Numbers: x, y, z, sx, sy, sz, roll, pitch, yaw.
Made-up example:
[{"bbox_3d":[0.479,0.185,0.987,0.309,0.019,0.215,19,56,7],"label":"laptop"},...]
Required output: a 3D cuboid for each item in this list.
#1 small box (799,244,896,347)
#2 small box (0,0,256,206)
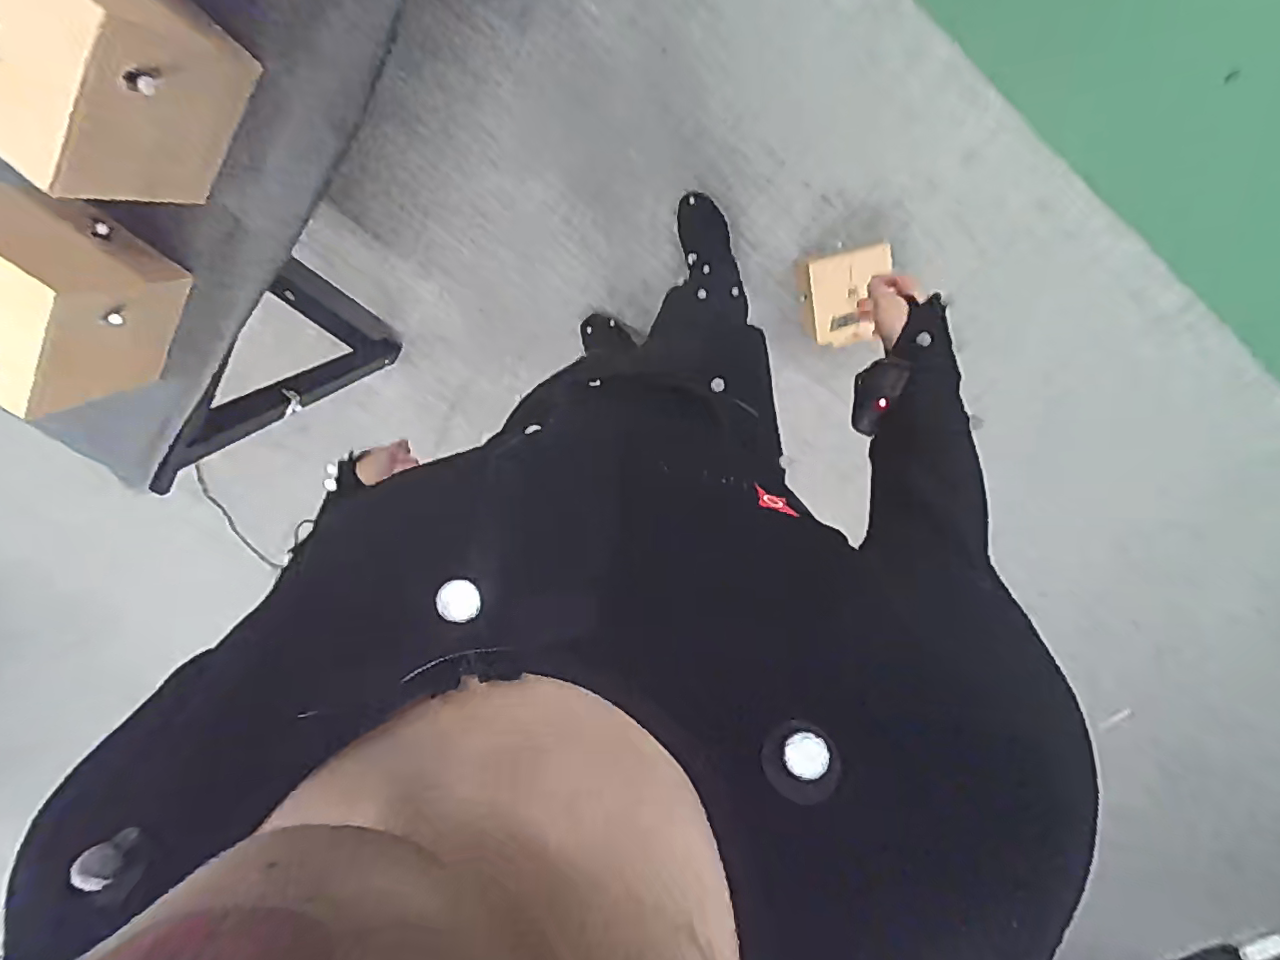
[{"bbox_3d":[0.461,-0.418,1.212,0.168,0.176,0.179,-11,114,11],"label":"small box"},{"bbox_3d":[-0.516,-0.391,0.512,0.168,0.176,0.179,42,114,-12],"label":"small box"}]
